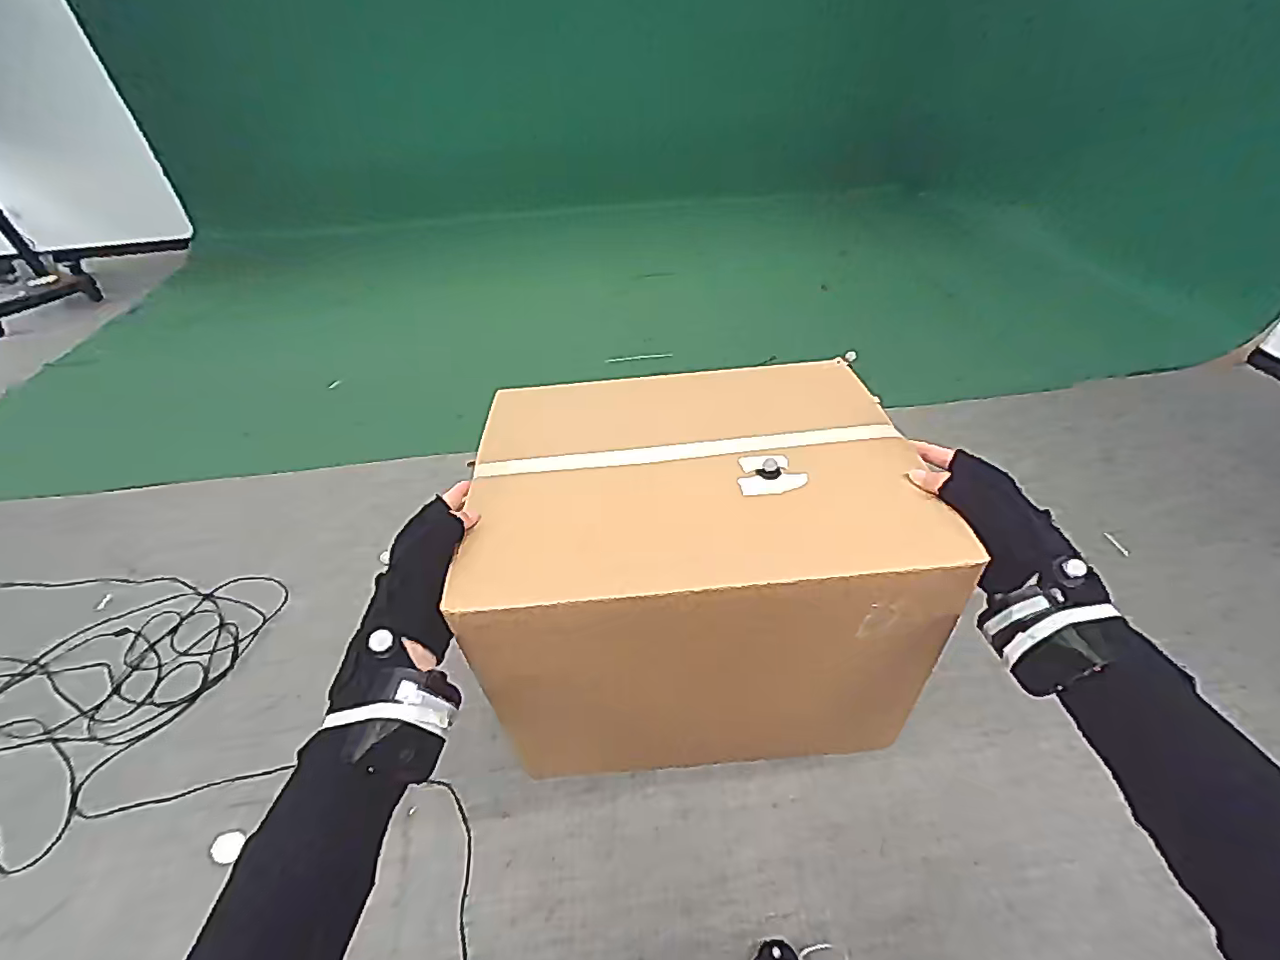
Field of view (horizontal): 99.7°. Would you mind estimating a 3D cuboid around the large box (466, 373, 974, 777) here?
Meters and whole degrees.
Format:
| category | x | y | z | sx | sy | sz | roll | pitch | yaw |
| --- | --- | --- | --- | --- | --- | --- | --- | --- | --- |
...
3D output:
| category | x | y | z | sx | sy | sz | roll | pitch | yaw |
| --- | --- | --- | --- | --- | --- | --- | --- | --- | --- |
| large box | 0.059 | 0.101 | 0.619 | 0.408 | 0.320 | 0.320 | -5 | 40 | -1 |
